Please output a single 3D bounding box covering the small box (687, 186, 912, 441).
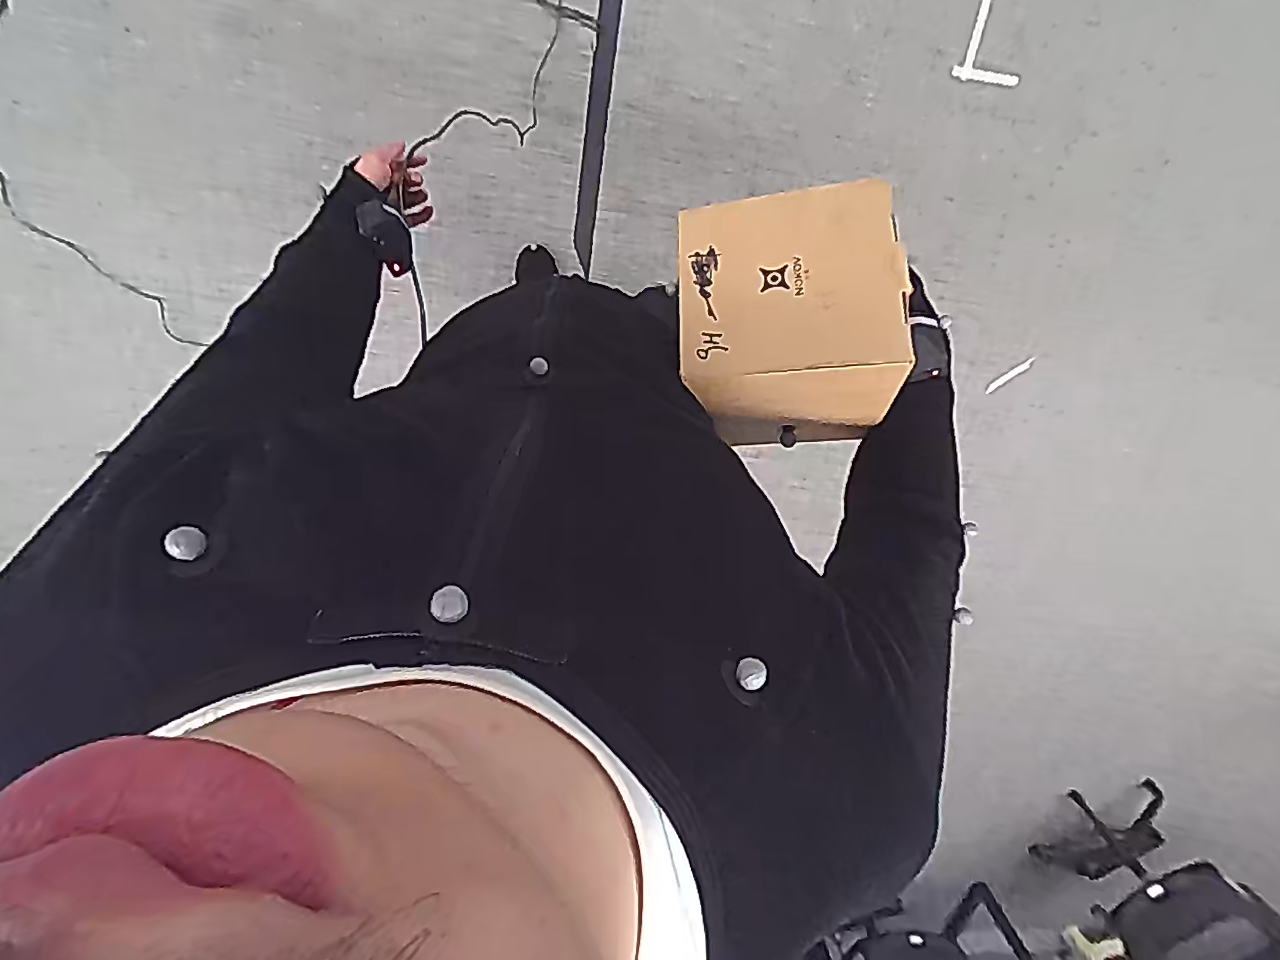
[{"bbox_3d":[0.142,-0.144,0.525,0.179,0.176,0.168,-3,74,12],"label":"small box"}]
